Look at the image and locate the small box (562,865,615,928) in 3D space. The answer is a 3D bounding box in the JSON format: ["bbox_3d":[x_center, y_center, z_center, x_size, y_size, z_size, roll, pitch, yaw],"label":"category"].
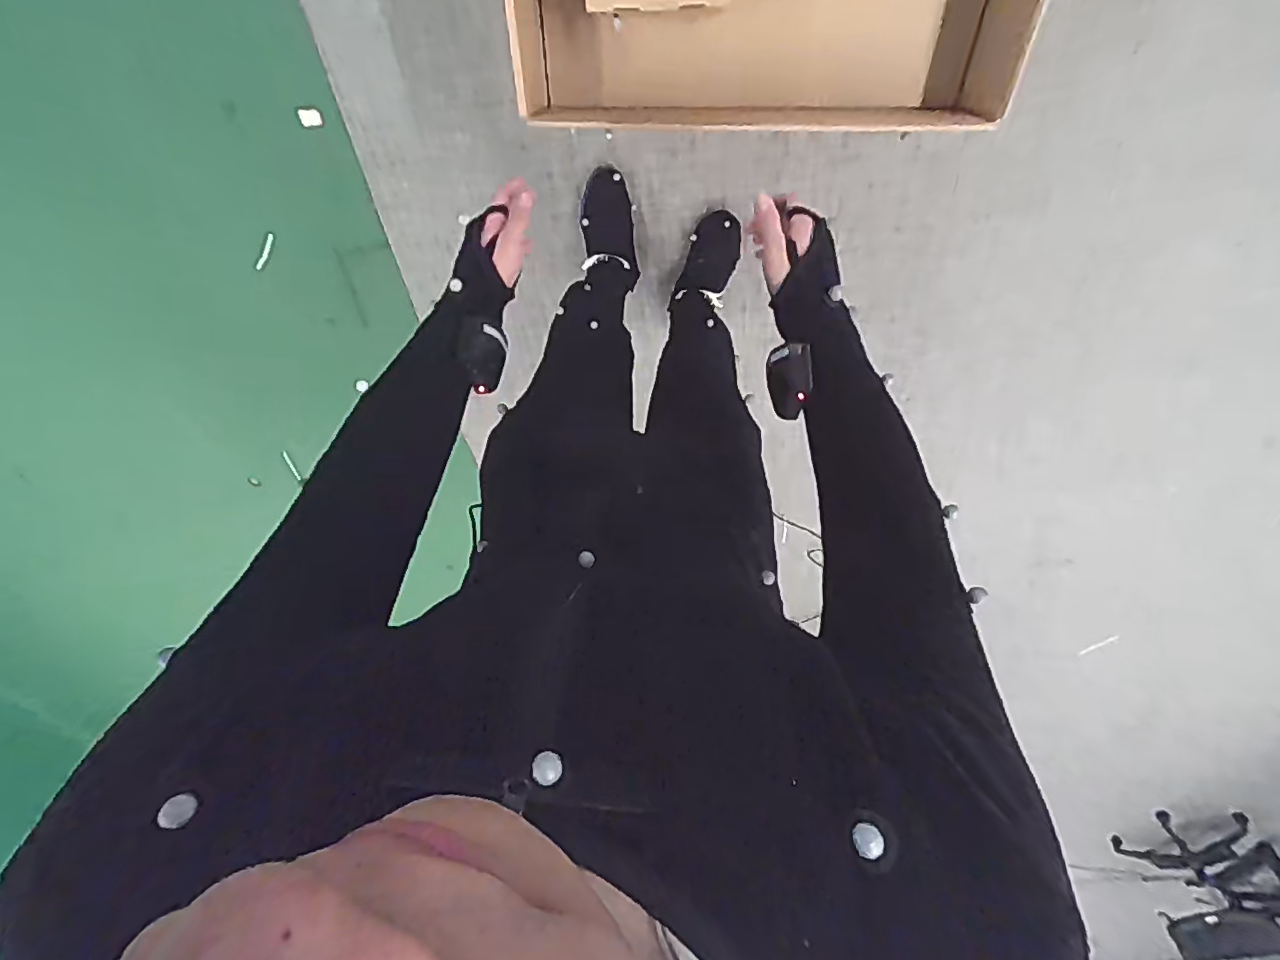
[{"bbox_3d":[-0.193,1.601,2.084,0.168,0.176,0.179,-3,129,6],"label":"small box"}]

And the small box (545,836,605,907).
[{"bbox_3d":[-0.219,1.368,1.888,0.168,0.176,0.179,-5,129,6],"label":"small box"}]
